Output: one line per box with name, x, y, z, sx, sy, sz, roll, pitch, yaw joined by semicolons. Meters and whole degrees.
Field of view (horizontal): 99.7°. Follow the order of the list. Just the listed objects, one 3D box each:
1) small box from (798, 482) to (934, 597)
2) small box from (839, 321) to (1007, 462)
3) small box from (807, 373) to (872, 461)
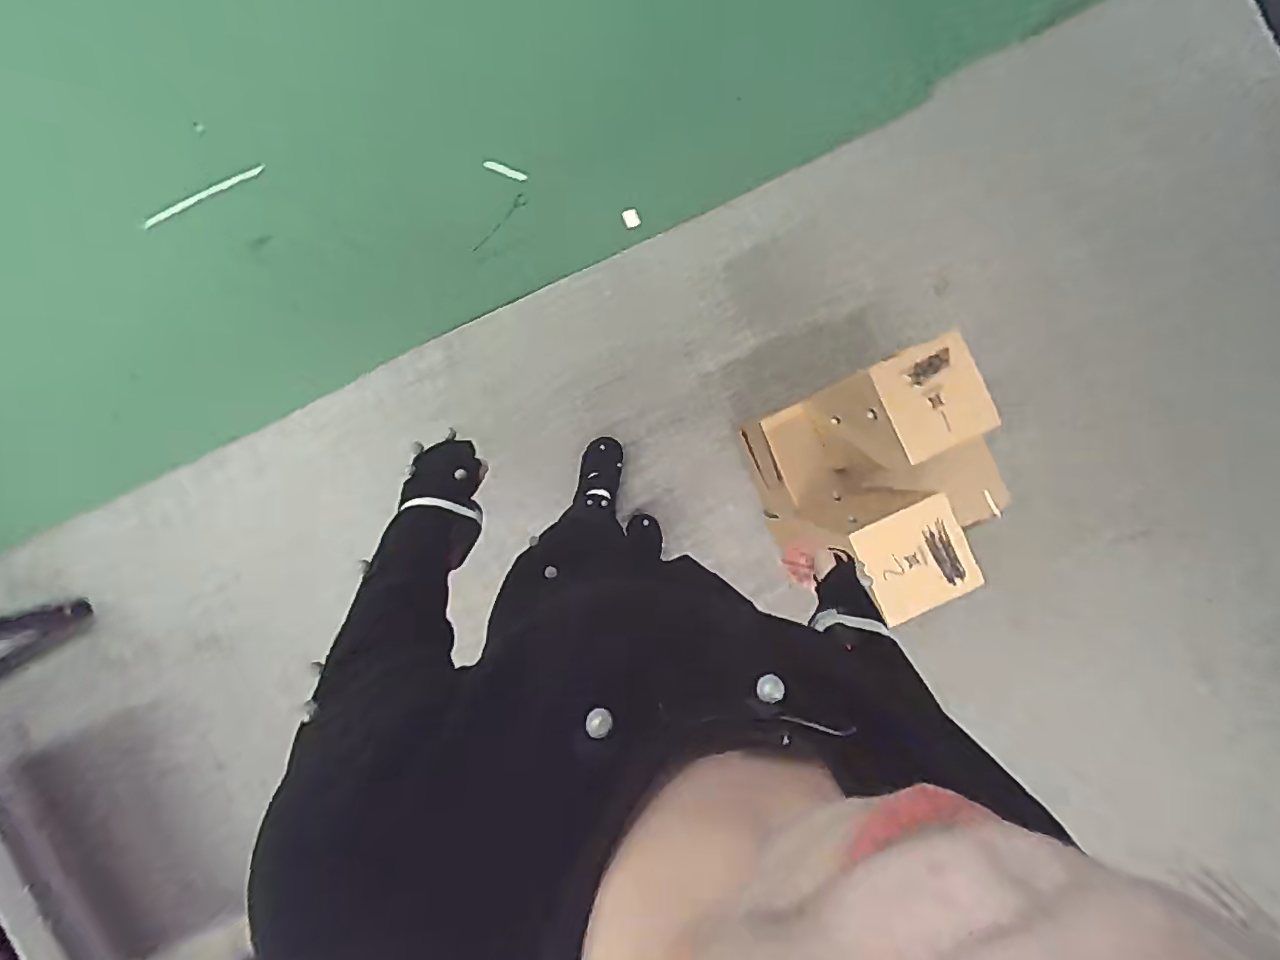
small box;0.453;0.112;1.108;0.168;0.176;0.179;-25;90;-1
small box;0.478;-0.143;0.945;0.168;0.176;0.179;-25;88;-1
small box;0.477;-0.147;1.112;0.179;0.176;0.168;-24;89;-2
